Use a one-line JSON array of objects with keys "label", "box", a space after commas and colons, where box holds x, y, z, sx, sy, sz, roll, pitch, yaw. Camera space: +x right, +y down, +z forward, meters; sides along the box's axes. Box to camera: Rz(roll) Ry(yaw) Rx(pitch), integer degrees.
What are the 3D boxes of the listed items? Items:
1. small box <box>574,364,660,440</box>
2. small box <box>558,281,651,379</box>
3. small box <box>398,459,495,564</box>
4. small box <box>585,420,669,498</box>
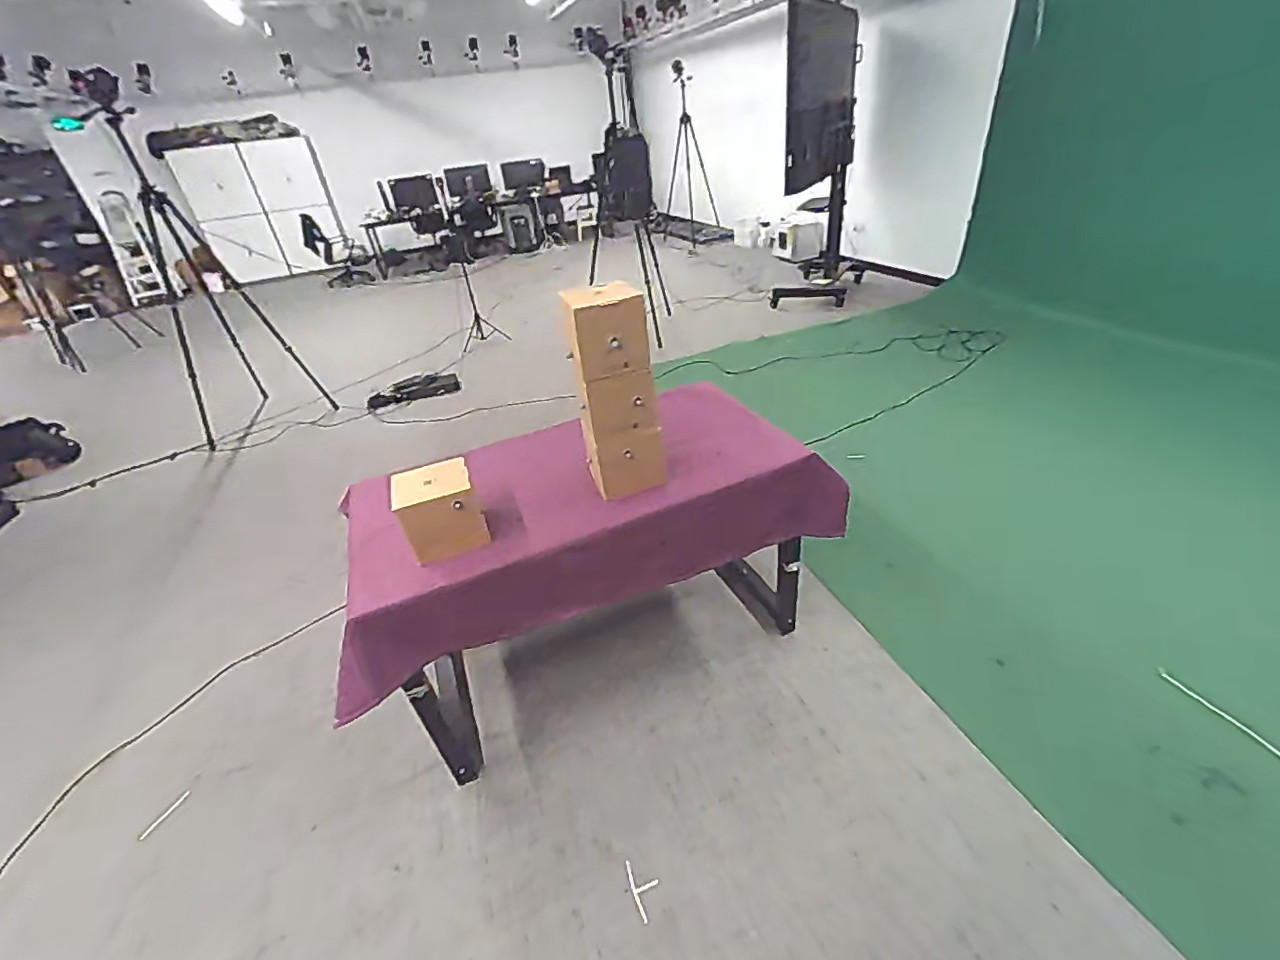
[{"label": "small box", "box": [-0.057, -0.213, 1.356, 0.168, 0.176, 0.179, -16, 33, -11]}, {"label": "small box", "box": [-0.081, -0.348, 1.266, 0.168, 0.176, 0.179, -16, 35, -12]}, {"label": "small box", "box": [-0.469, 0.078, 1.314, 0.179, 0.176, 0.168, -18, 34, -15]}, {"label": "small box", "box": [-0.033, -0.074, 1.438, 0.179, 0.176, 0.168, -16, 35, -11]}]
